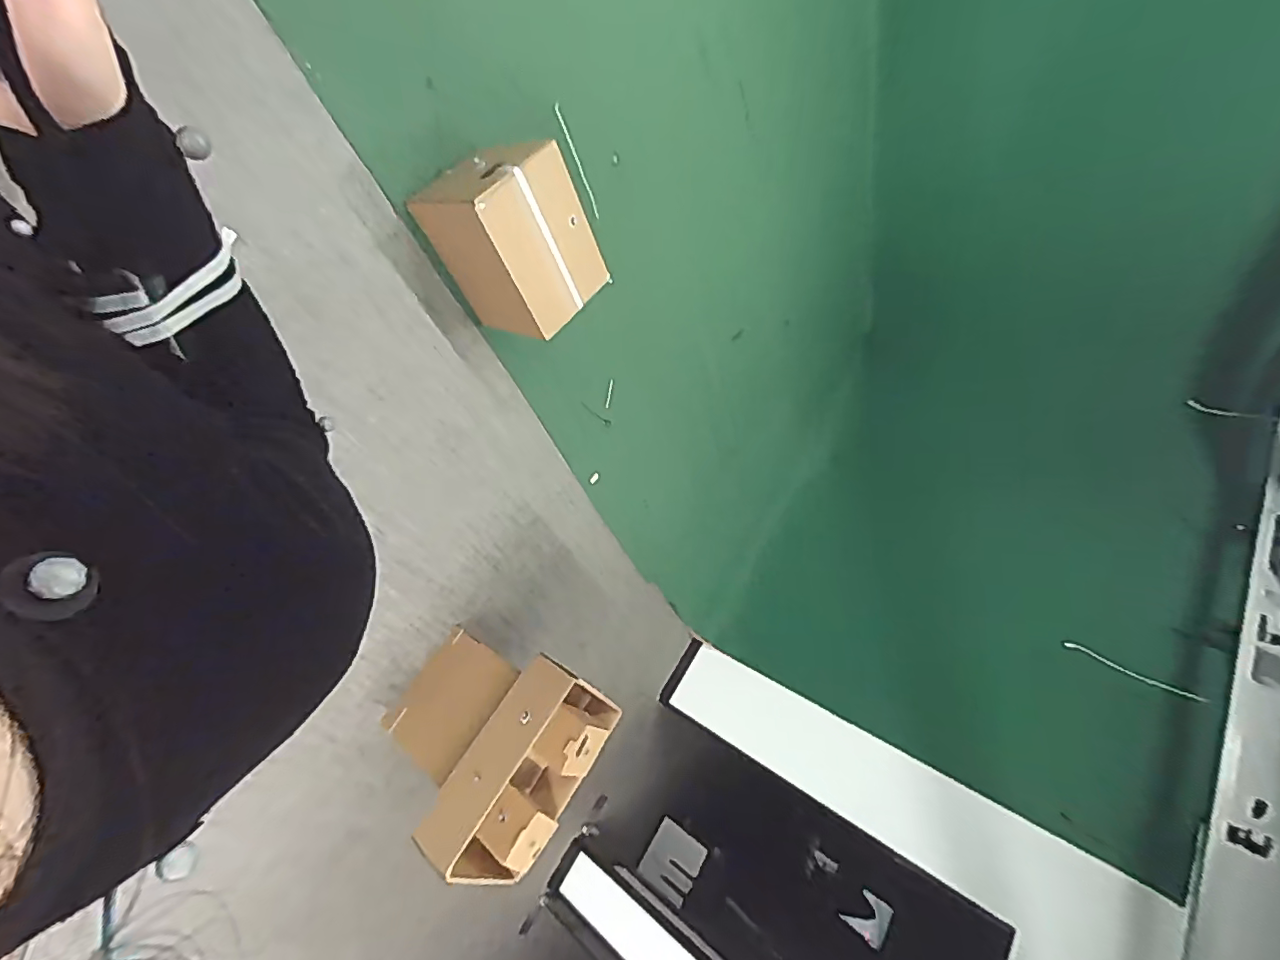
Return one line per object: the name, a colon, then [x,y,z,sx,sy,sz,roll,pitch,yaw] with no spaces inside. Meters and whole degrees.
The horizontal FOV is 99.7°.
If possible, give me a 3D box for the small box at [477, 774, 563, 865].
small box: [-0.385,1.075,1.722,0.168,0.176,0.179,-49,139,-25]
